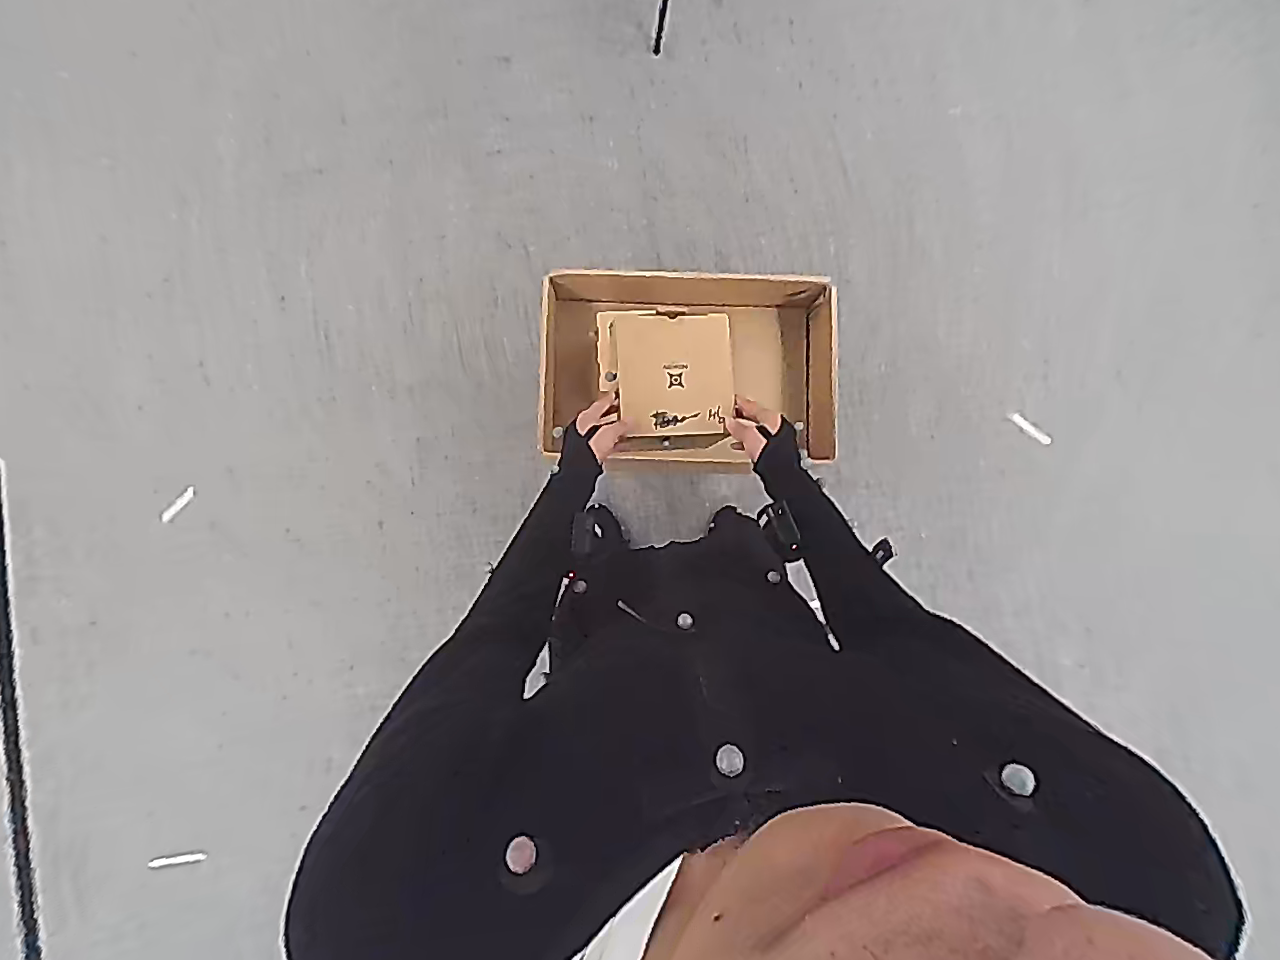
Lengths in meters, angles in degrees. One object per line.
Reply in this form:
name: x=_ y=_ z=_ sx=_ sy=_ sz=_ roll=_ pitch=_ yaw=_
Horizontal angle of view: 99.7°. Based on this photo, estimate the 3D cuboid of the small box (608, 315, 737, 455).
small box: x=0.041 y=-0.139 z=0.833 sx=0.168 sy=0.176 sz=0.179 roll=-3 pitch=85 yaw=-7
